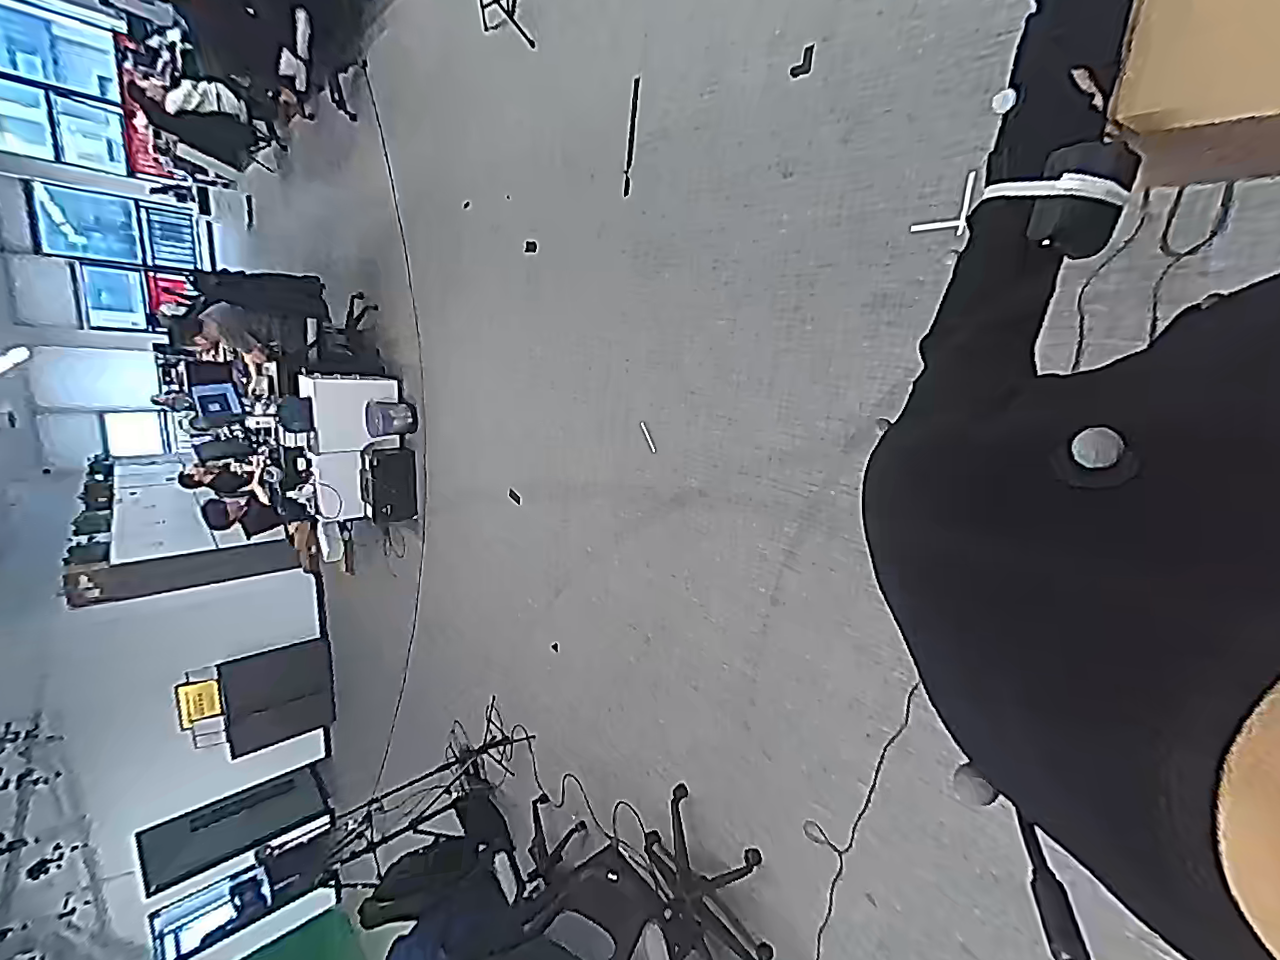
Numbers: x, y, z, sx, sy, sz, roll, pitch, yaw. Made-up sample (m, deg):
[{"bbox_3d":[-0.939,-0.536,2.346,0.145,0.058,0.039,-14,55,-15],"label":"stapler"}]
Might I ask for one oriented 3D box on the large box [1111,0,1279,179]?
[{"bbox_3d":[0.579,-0.387,0.306,0.408,0.320,0.320,19,119,42],"label":"large box"}]
